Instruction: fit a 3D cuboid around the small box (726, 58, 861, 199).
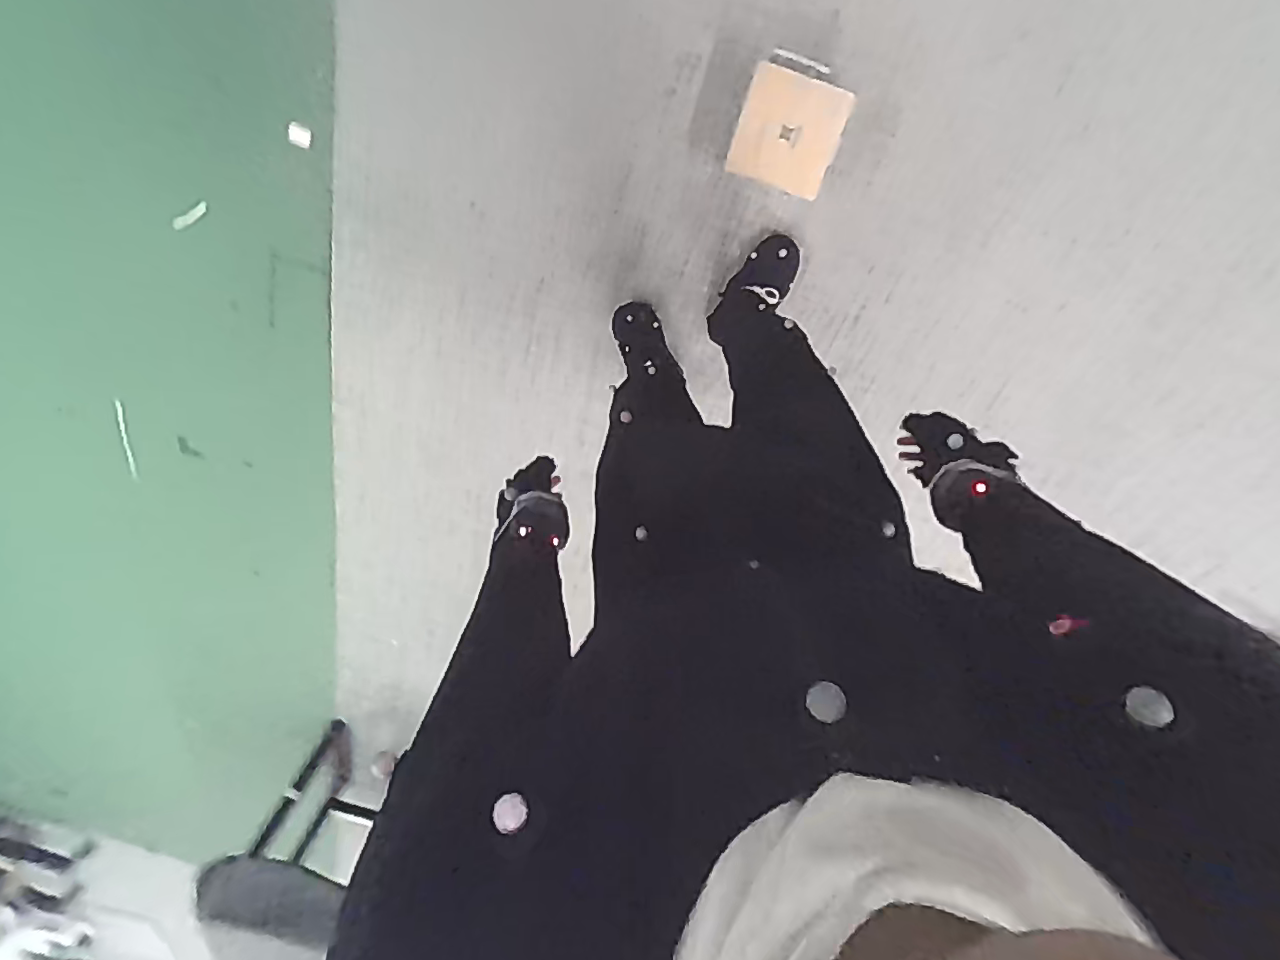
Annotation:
[{"bbox_3d":[0.270,-0.637,0.989,0.179,0.176,0.168,19,122,-1],"label":"small box"}]
